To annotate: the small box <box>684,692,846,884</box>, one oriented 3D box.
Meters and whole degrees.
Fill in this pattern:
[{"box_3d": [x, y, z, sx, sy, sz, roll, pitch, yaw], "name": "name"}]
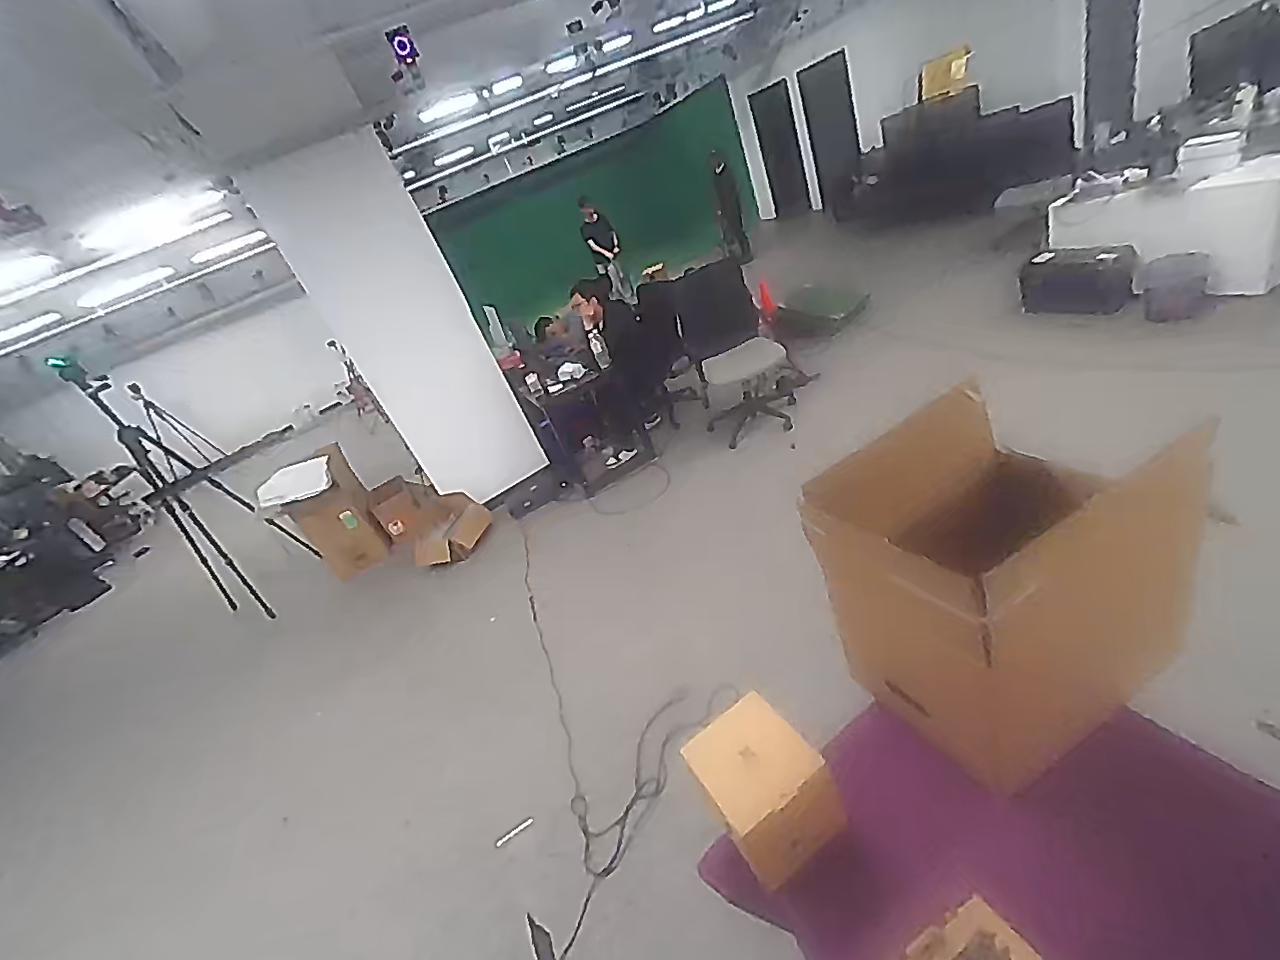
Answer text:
[{"box_3d": [0.202, 0.494, 0.876, 0.168, 0.176, 0.179, -32, 30, -15], "name": "small box"}]
